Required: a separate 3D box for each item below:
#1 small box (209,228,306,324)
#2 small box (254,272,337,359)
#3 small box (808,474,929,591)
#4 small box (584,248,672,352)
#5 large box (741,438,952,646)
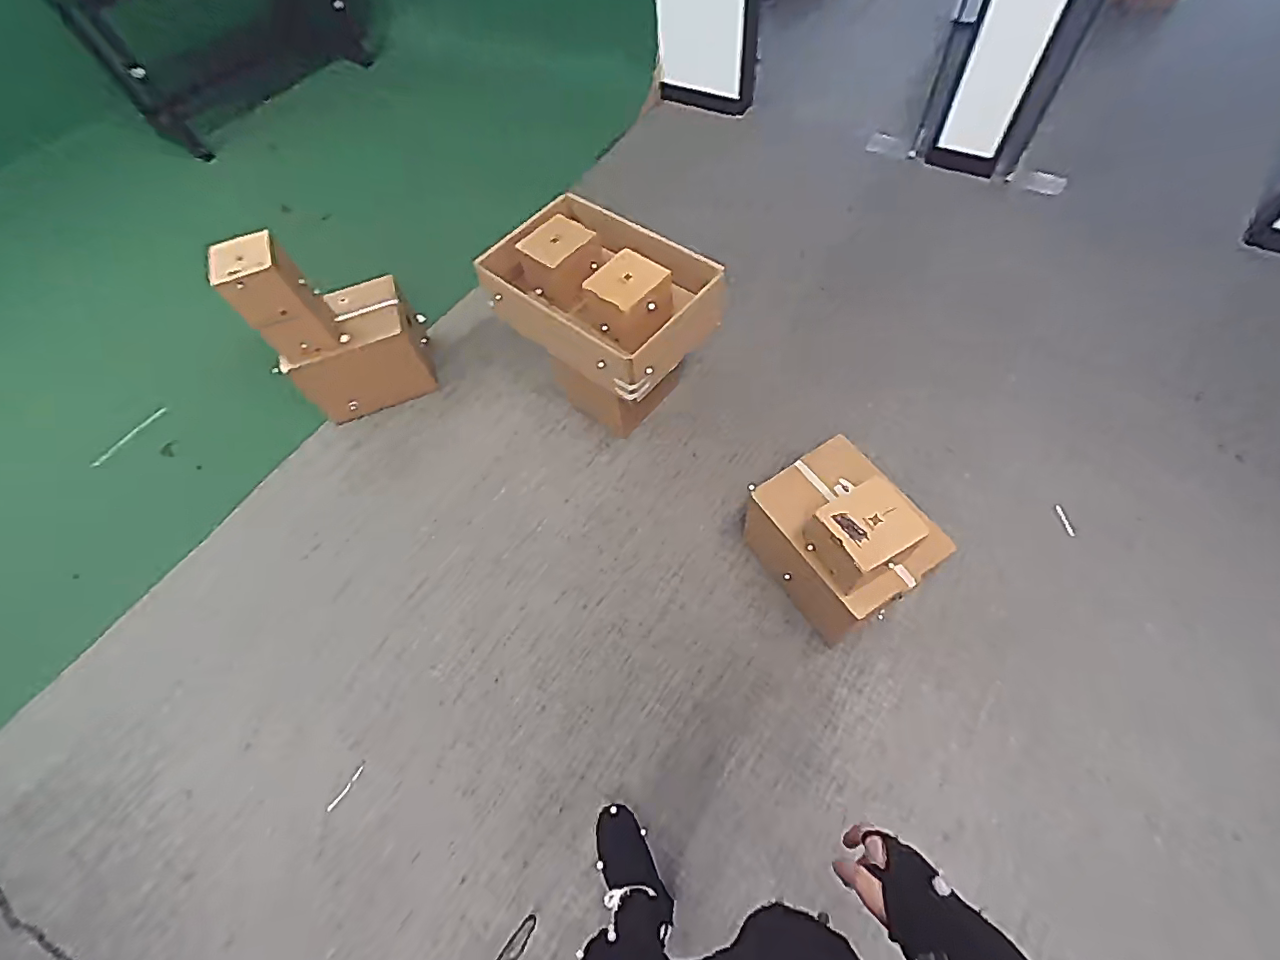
[{"bbox_3d":[-1.103,-0.588,1.569,0.168,0.176,0.179,-21,62,-6],"label":"small box"},{"bbox_3d":[-1.094,-0.518,1.718,0.168,0.176,0.179,-21,63,-6],"label":"small box"},{"bbox_3d":[0.497,0.124,1.212,0.179,0.176,0.168,-28,63,-8],"label":"small box"},{"bbox_3d":[-0.027,-0.489,1.481,0.168,0.176,0.179,37,72,22],"label":"small box"},{"bbox_3d":[0.523,0.172,1.465,0.320,0.320,0.408,-31,62,-12],"label":"large box"}]
